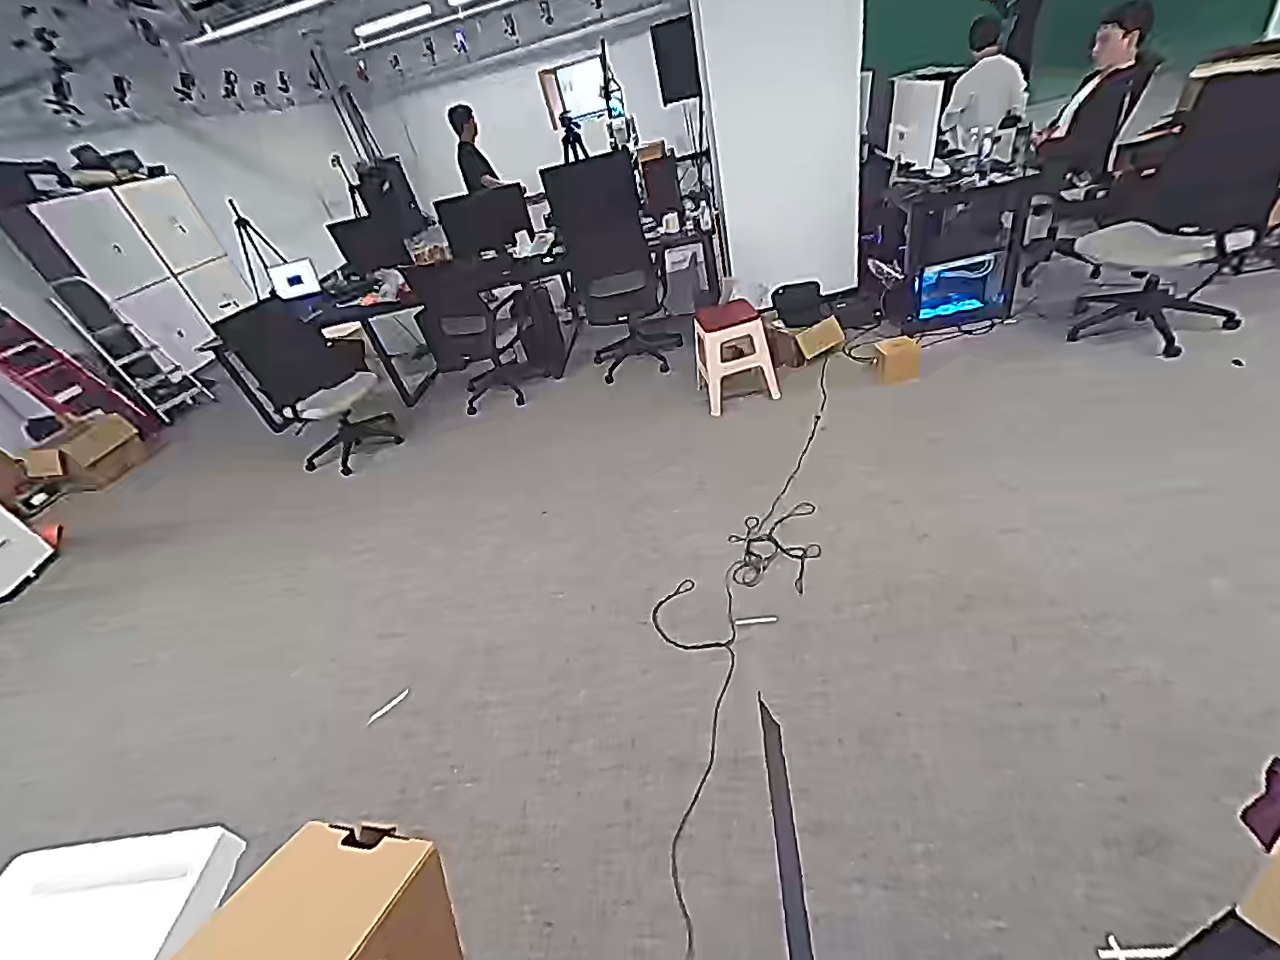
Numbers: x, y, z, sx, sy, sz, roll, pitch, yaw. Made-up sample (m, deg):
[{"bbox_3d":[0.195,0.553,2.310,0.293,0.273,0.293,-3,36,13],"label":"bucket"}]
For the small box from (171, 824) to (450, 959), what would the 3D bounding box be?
[{"bbox_3d":[-0.296,0.469,0.501,0.168,0.176,0.179,-3,12,17],"label":"small box"}]
